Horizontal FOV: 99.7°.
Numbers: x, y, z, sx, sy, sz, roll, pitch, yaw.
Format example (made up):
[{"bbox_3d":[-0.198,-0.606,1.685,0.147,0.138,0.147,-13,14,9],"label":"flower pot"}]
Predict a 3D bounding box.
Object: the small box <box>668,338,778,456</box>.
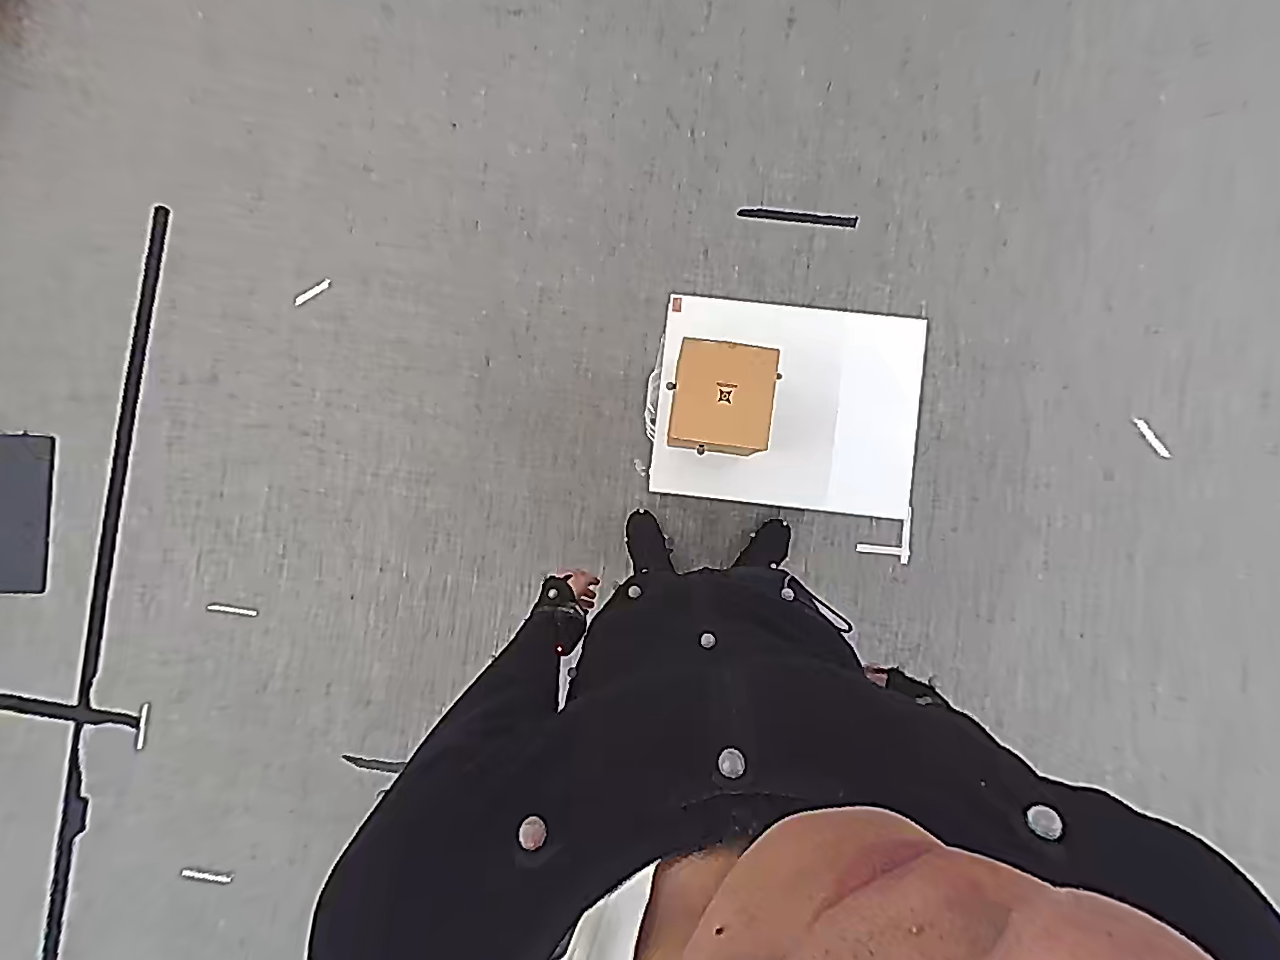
[{"bbox_3d":[0.142,-0.141,0.985,0.168,0.176,0.179,7,88,1],"label":"small box"}]
